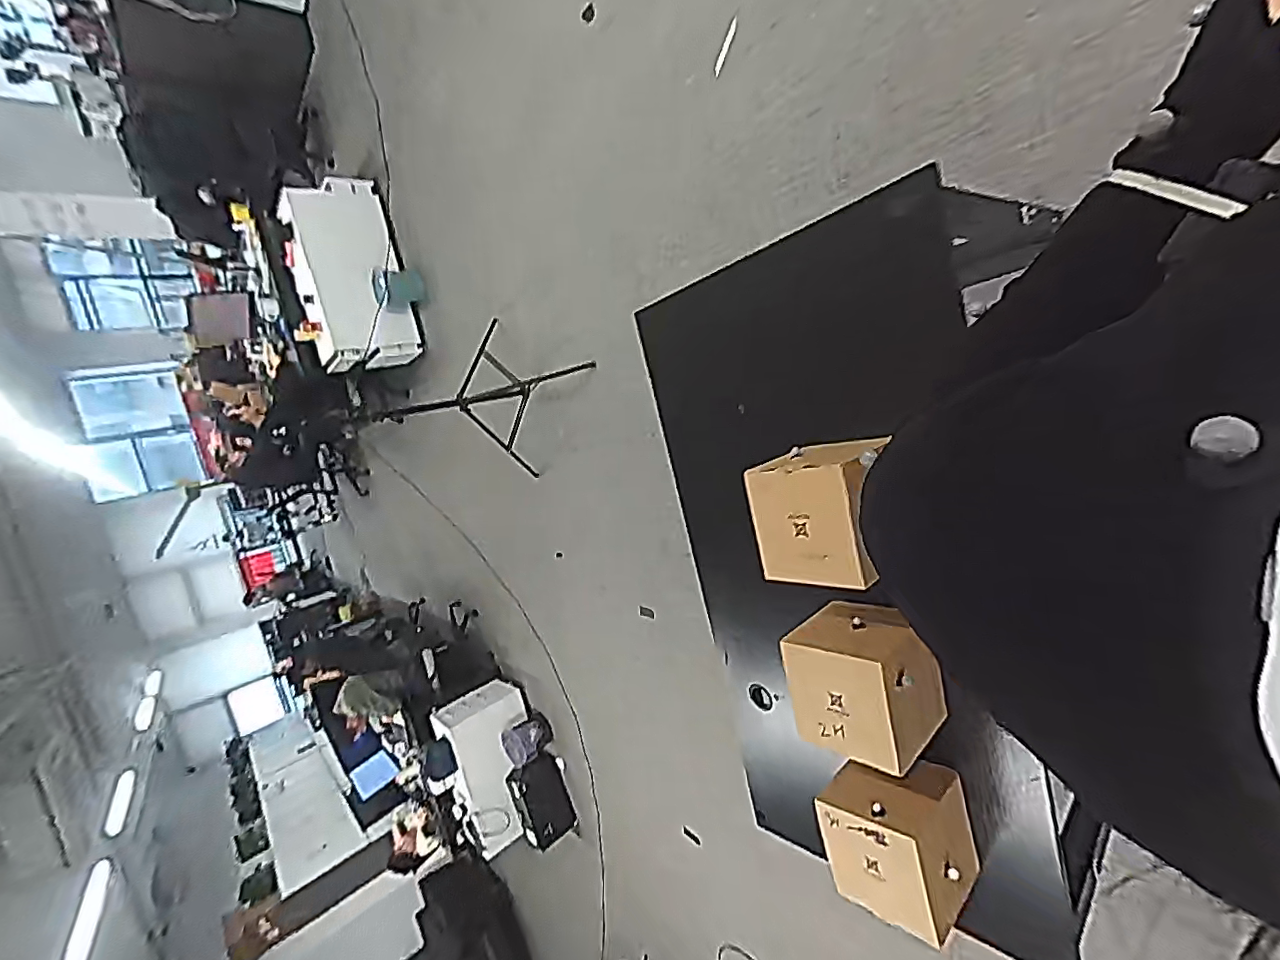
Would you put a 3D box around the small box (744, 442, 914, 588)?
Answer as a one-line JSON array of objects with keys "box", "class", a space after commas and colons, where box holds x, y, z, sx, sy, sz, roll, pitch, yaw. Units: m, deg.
[{"box": [0.288, 0.045, 0.820, 0.168, 0.176, 0.179, -5, 102, 52], "class": "small box"}]

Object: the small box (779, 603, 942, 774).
[{"box": [0.348, 0.310, 0.851, 0.168, 0.176, 0.179, -4, 102, 51], "class": "small box"}]

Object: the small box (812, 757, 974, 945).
[{"box": [0.414, 0.574, 0.880, 0.168, 0.176, 0.179, -10, 97, 51], "class": "small box"}]
